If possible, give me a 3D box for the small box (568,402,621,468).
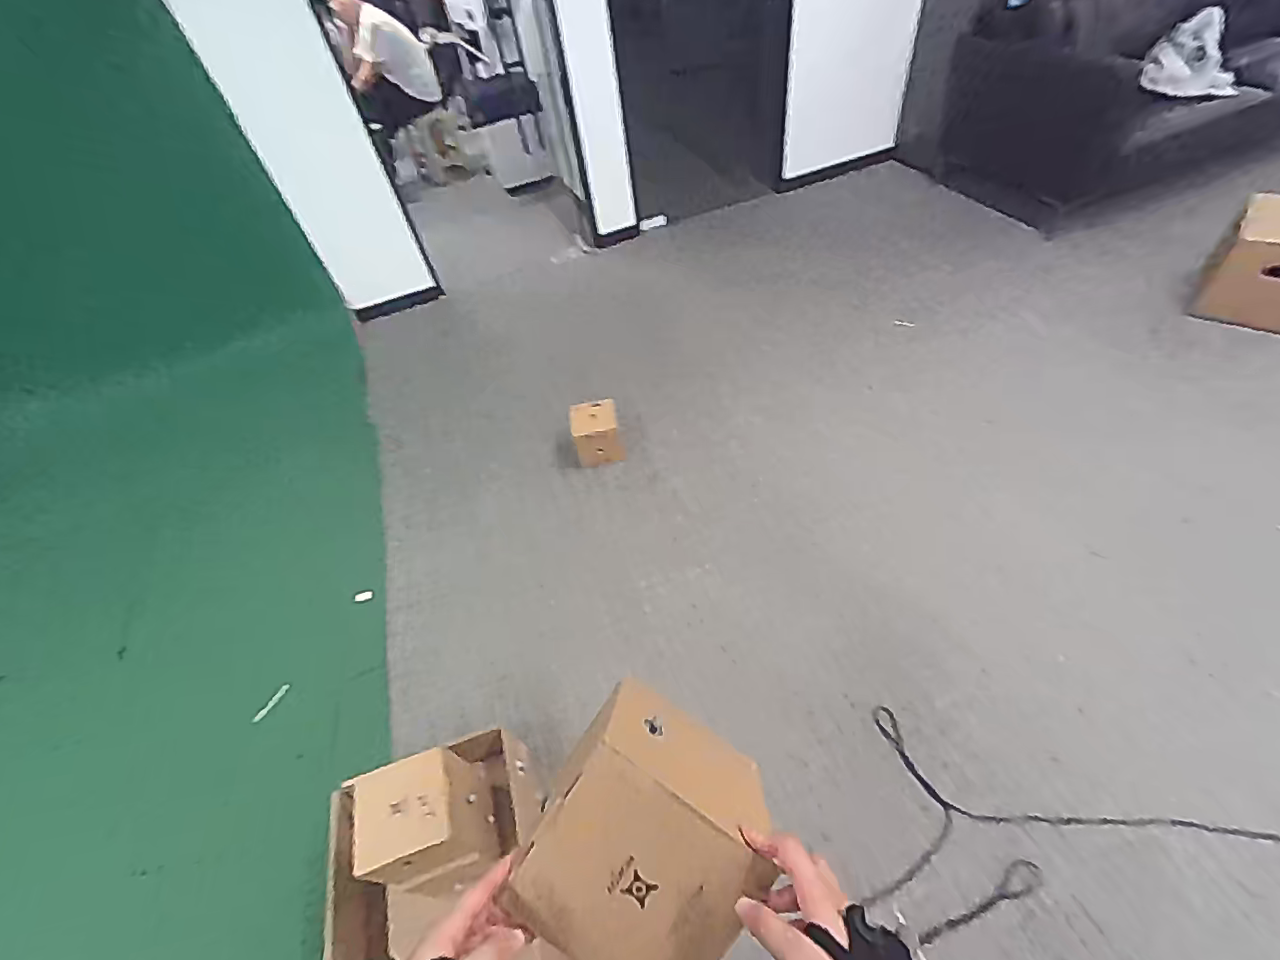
[{"bbox_3d":[-0.169,-0.161,2.025,0.168,0.176,0.179,-11,49,0],"label":"small box"}]

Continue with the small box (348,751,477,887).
[{"bbox_3d":[-0.437,0.662,1.052,0.179,0.176,0.168,-19,50,-8],"label":"small box"}]

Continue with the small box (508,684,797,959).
[{"bbox_3d":[0.015,0.319,0.506,0.179,0.176,0.168,35,93,6],"label":"small box"}]
